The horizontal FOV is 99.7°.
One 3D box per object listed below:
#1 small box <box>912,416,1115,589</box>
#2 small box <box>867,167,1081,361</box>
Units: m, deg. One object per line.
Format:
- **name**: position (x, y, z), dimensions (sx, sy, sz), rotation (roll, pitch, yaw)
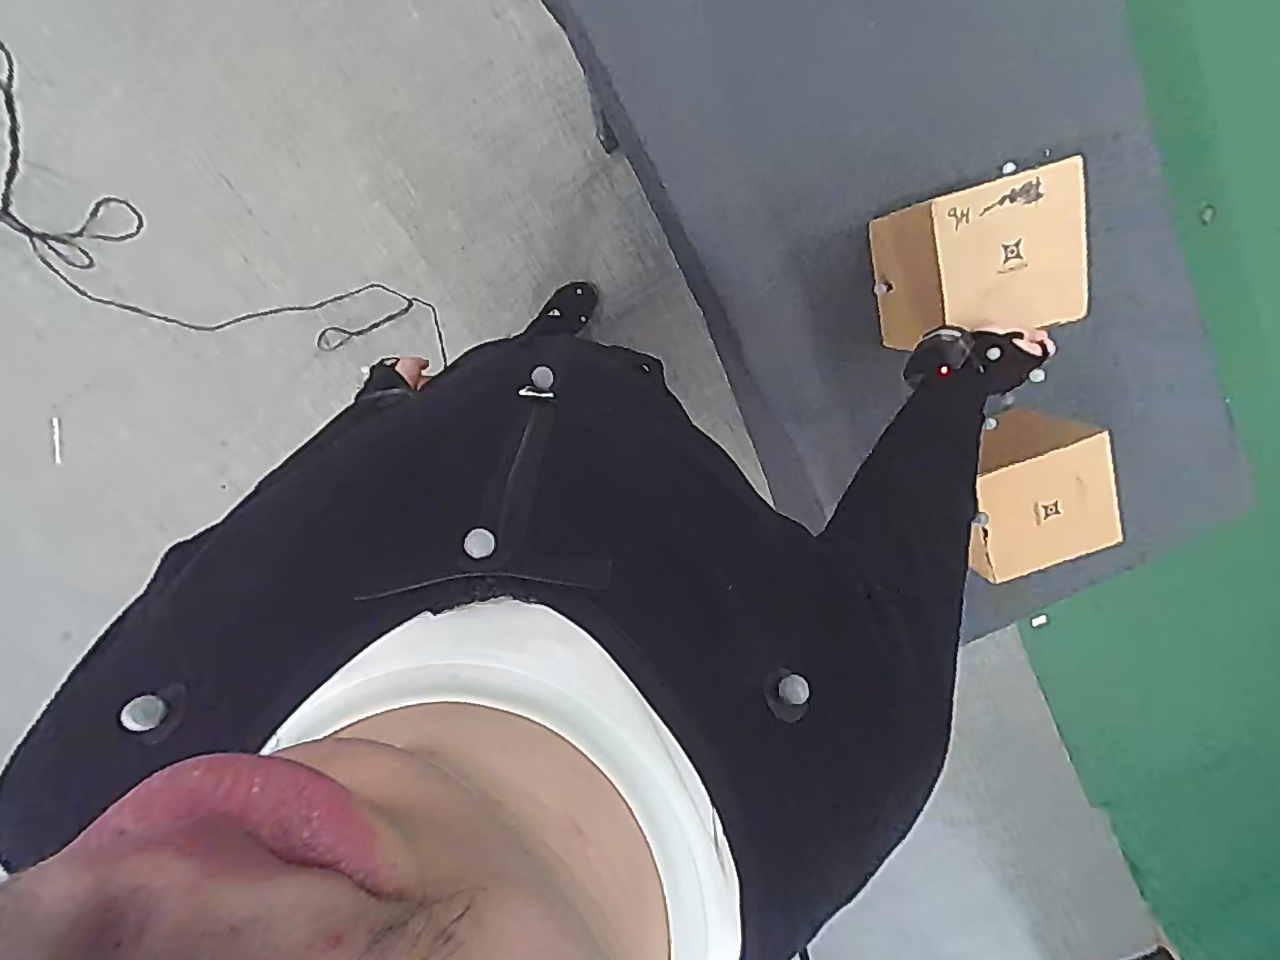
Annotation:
- **small box**: position (0.516, 0.023, 0.773), dimensions (0.179, 0.176, 0.168), rotation (-21, 108, 4)
- **small box**: position (0.409, -0.264, 0.685), dimensions (0.168, 0.176, 0.179), rotation (-15, 107, 2)
